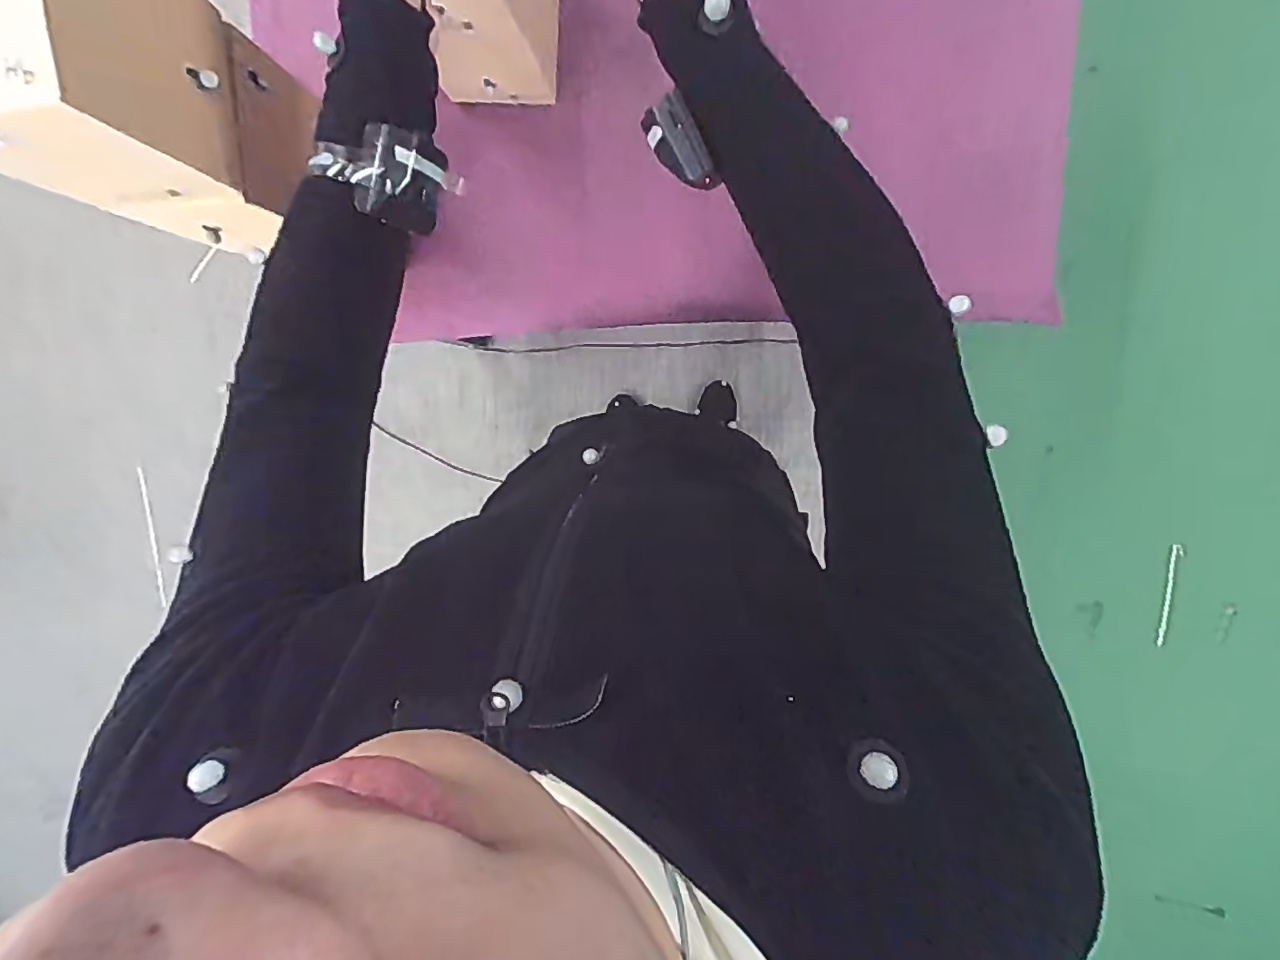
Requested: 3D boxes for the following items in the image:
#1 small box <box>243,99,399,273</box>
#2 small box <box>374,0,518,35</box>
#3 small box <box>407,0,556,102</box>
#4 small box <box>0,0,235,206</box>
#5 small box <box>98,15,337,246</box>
[{"bbox_3d":[-0.475,-0.413,0.787,0.168,0.176,0.179,-1,99,4],"label":"small box"},{"bbox_3d":[-0.231,-0.621,0.570,0.168,0.176,0.179,2,100,4],"label":"small box"},{"bbox_3d":[-0.213,-0.653,0.730,0.168,0.176,0.179,4,100,3],"label":"small box"},{"bbox_3d":[-0.496,-0.363,0.465,0.168,0.176,0.179,-2,96,6],"label":"small box"},{"bbox_3d":[-0.482,-0.382,0.628,0.168,0.176,0.179,0,97,5],"label":"small box"}]
